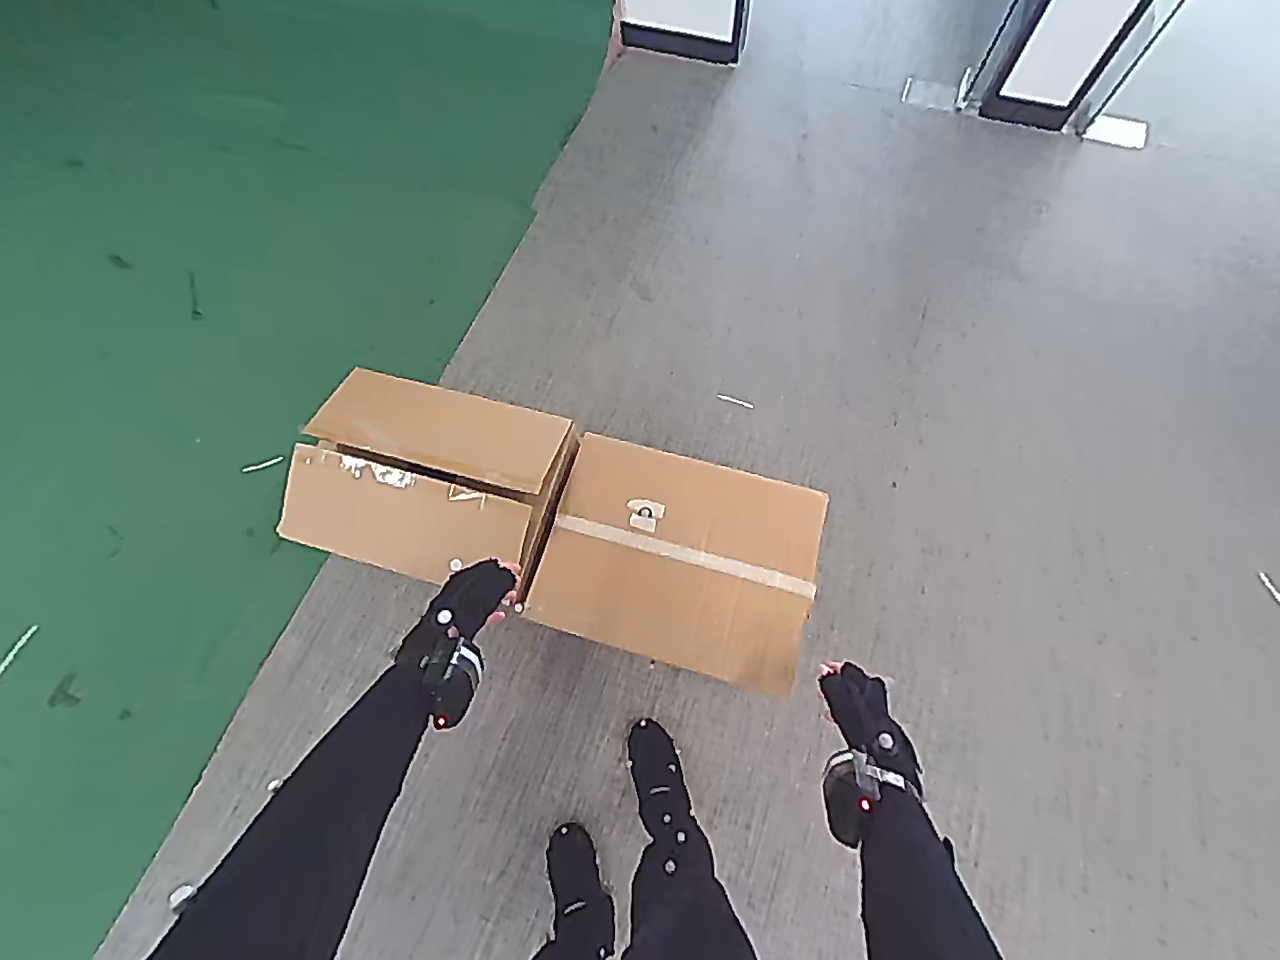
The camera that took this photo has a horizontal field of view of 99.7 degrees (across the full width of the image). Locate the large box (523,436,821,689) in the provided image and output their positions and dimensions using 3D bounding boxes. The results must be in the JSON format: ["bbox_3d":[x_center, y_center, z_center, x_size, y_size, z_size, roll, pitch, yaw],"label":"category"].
[{"bbox_3d":[0.066,0.156,0.963,0.408,0.320,0.320,14,72,9],"label":"large box"}]
